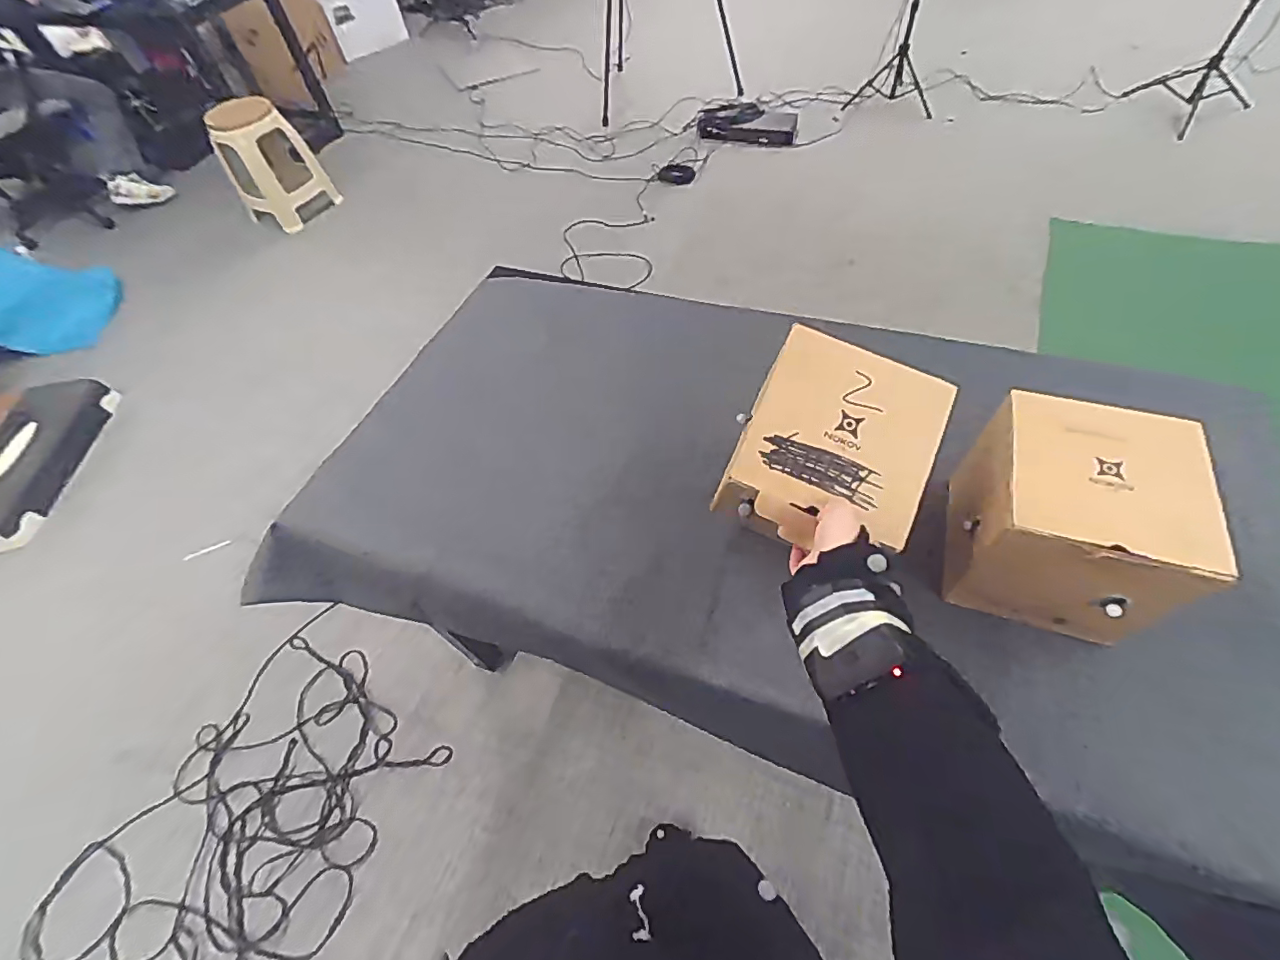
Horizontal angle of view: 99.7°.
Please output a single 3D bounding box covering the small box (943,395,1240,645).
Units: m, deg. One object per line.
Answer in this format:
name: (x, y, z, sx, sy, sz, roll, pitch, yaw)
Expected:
small box: (0.431, 0.045, 0.555, 0.168, 0.176, 0.179, 15, 56, 14)
